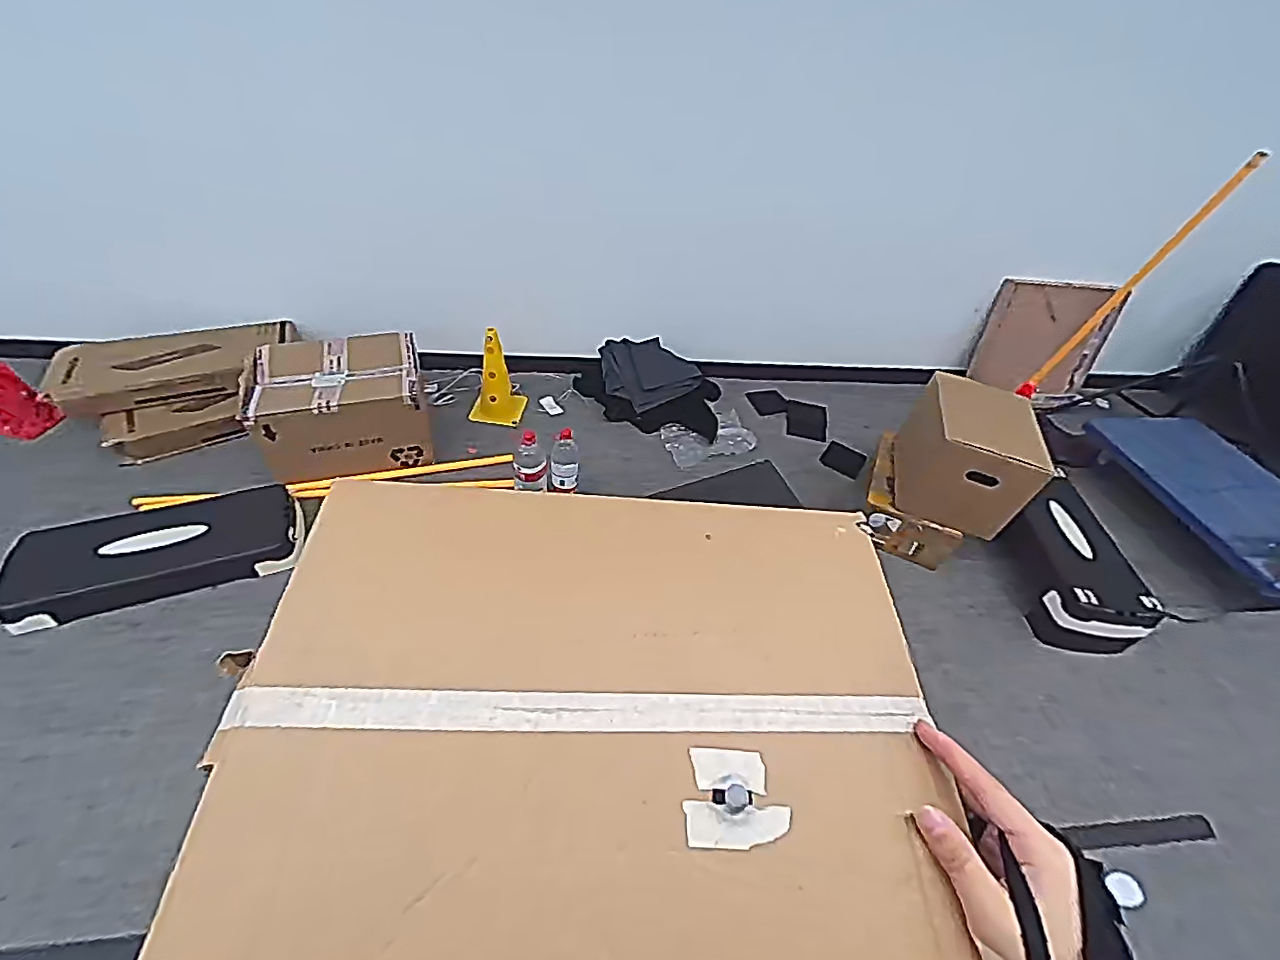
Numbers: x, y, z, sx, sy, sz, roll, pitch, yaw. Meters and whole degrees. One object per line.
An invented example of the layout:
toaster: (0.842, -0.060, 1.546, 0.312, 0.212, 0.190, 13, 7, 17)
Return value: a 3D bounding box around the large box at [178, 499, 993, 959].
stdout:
large box: (-0.037, 0.237, 0.445, 0.408, 0.320, 0.320, 4, 53, -8)
